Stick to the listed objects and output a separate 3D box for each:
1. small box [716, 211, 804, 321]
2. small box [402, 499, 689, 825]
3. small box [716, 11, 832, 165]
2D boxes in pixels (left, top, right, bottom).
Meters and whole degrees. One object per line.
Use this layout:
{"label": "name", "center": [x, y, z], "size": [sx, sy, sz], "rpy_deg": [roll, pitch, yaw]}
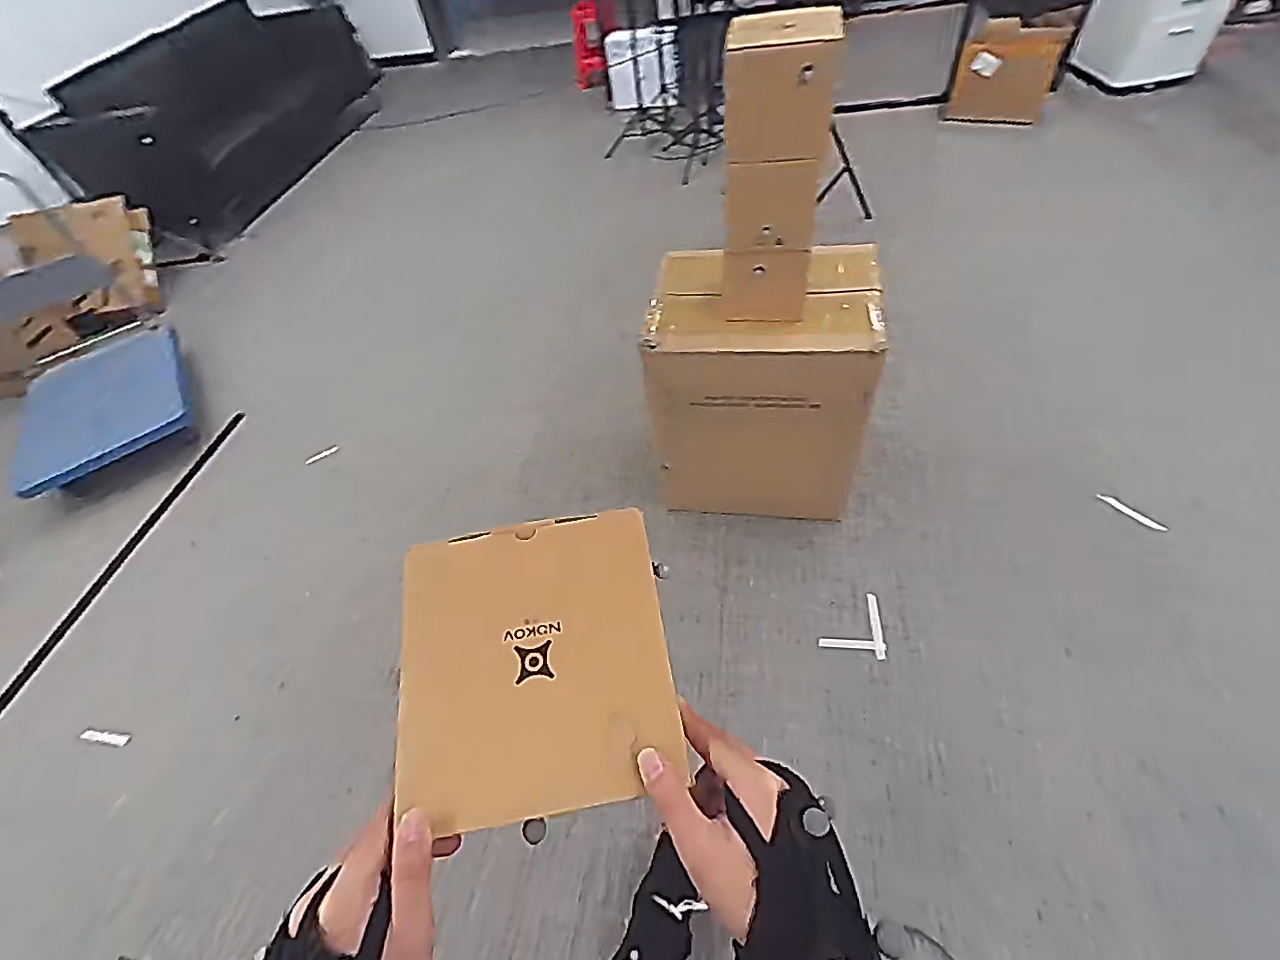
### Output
{"label": "small box", "center": [0.264, -0.466, 1.189], "size": [0.179, 0.176, 0.168], "rpy_deg": [4, 53, 12]}
{"label": "small box", "center": [-0.059, 0.139, 0.407], "size": [0.168, 0.176, 0.179], "rpy_deg": [-10, 60, -3]}
{"label": "small box", "center": [0.226, -0.669, 0.932], "size": [0.179, 0.176, 0.168], "rpy_deg": [3, 53, 12]}
